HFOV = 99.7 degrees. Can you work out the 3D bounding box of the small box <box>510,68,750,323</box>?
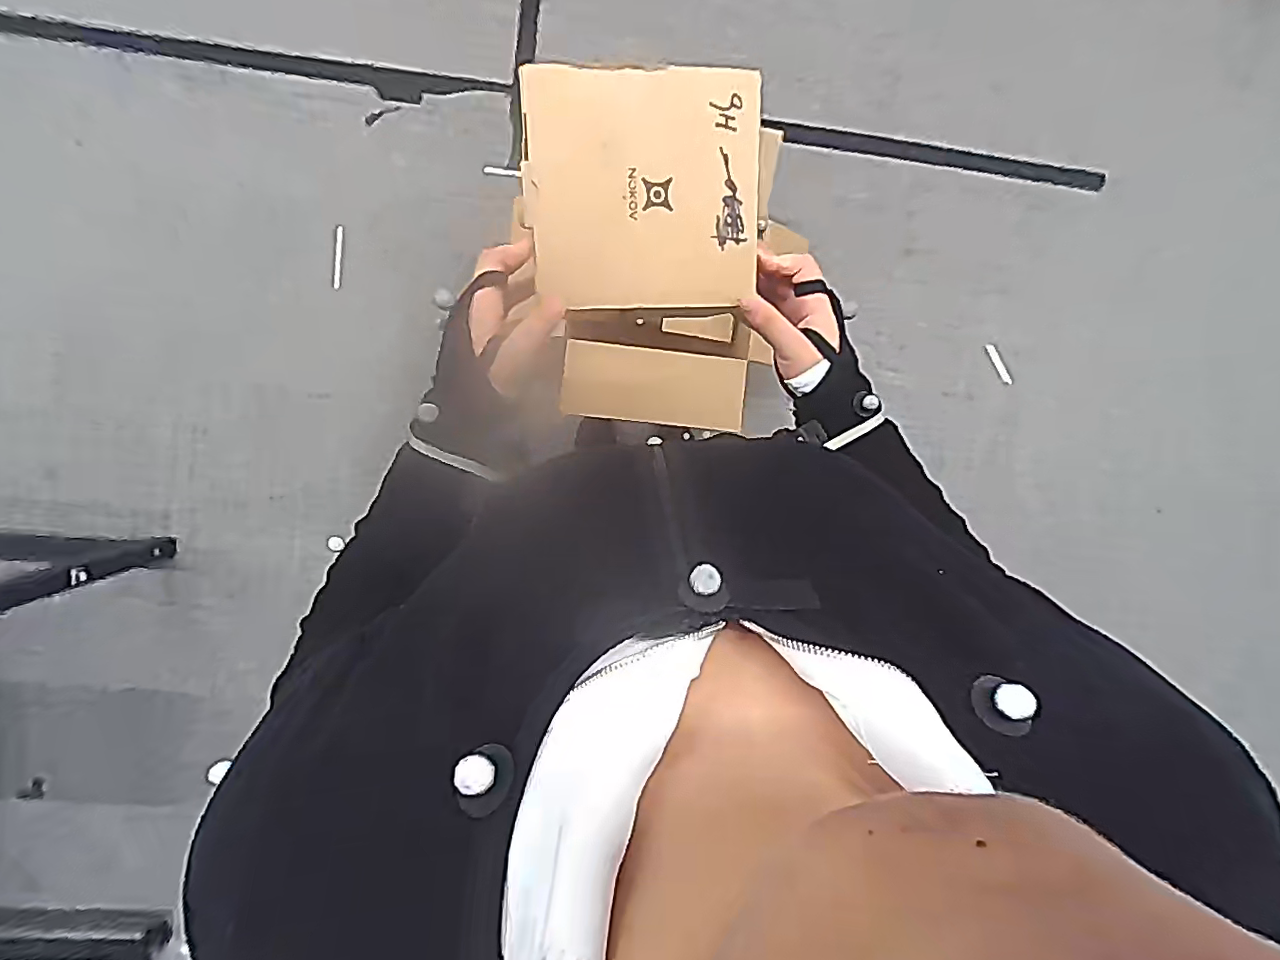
[{"bbox_3d":[-0.010,-0.232,0.482,0.179,0.176,0.168,-3,104,-5],"label":"small box"}]
